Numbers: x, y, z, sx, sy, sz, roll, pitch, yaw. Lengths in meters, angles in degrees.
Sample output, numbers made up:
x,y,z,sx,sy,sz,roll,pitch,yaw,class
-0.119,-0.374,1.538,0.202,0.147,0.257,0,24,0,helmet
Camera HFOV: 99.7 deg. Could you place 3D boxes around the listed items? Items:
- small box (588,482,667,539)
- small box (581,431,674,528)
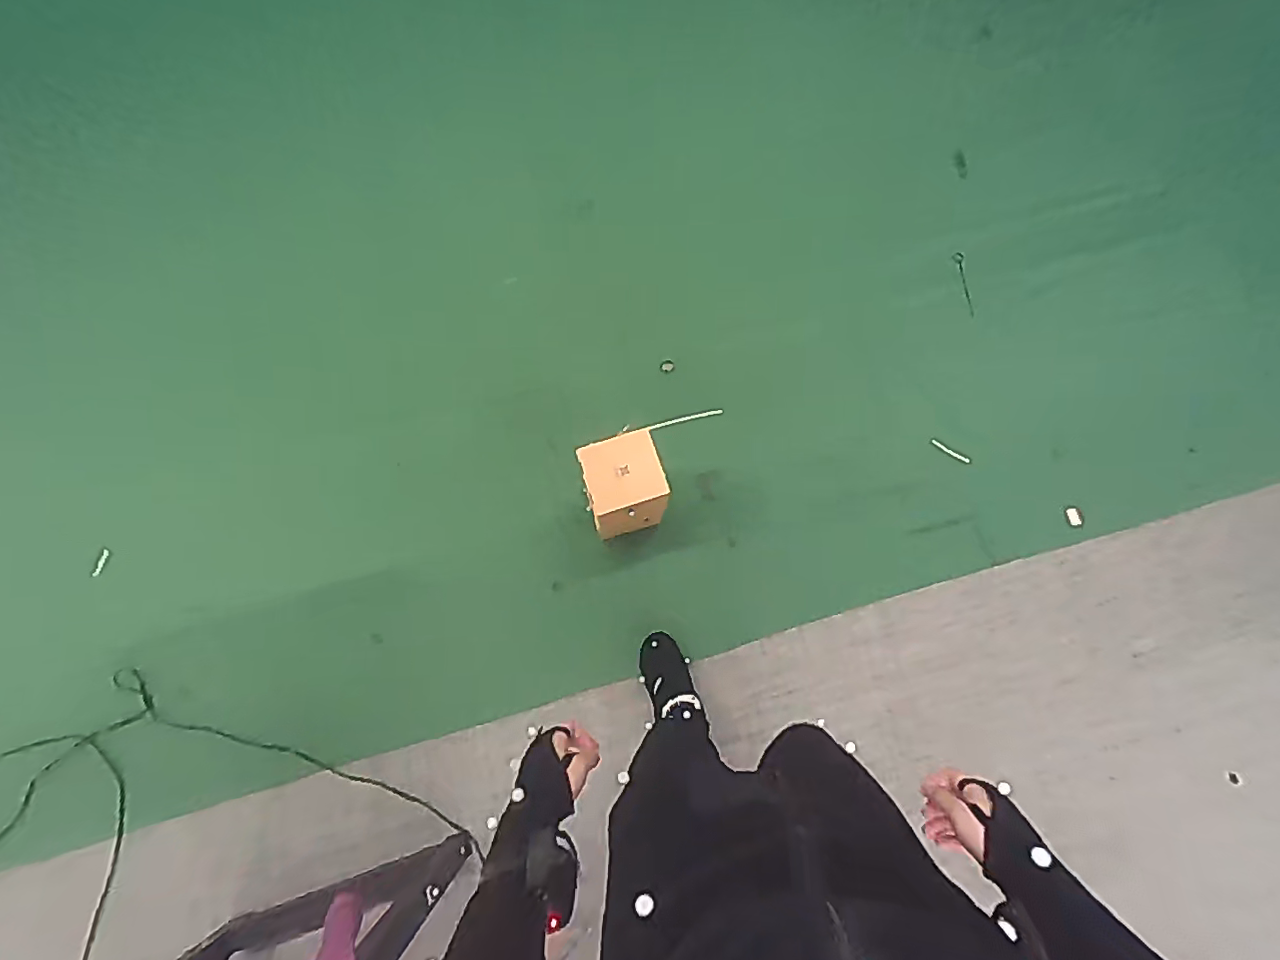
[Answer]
x,y,z,sx,sy,sz,roll,pitch,yaw,class
-0.036,0.051,1.451,0.179,0.176,0.168,-15,75,-4,small box
-0.030,0.005,1.295,0.179,0.176,0.168,-18,76,-3,small box
